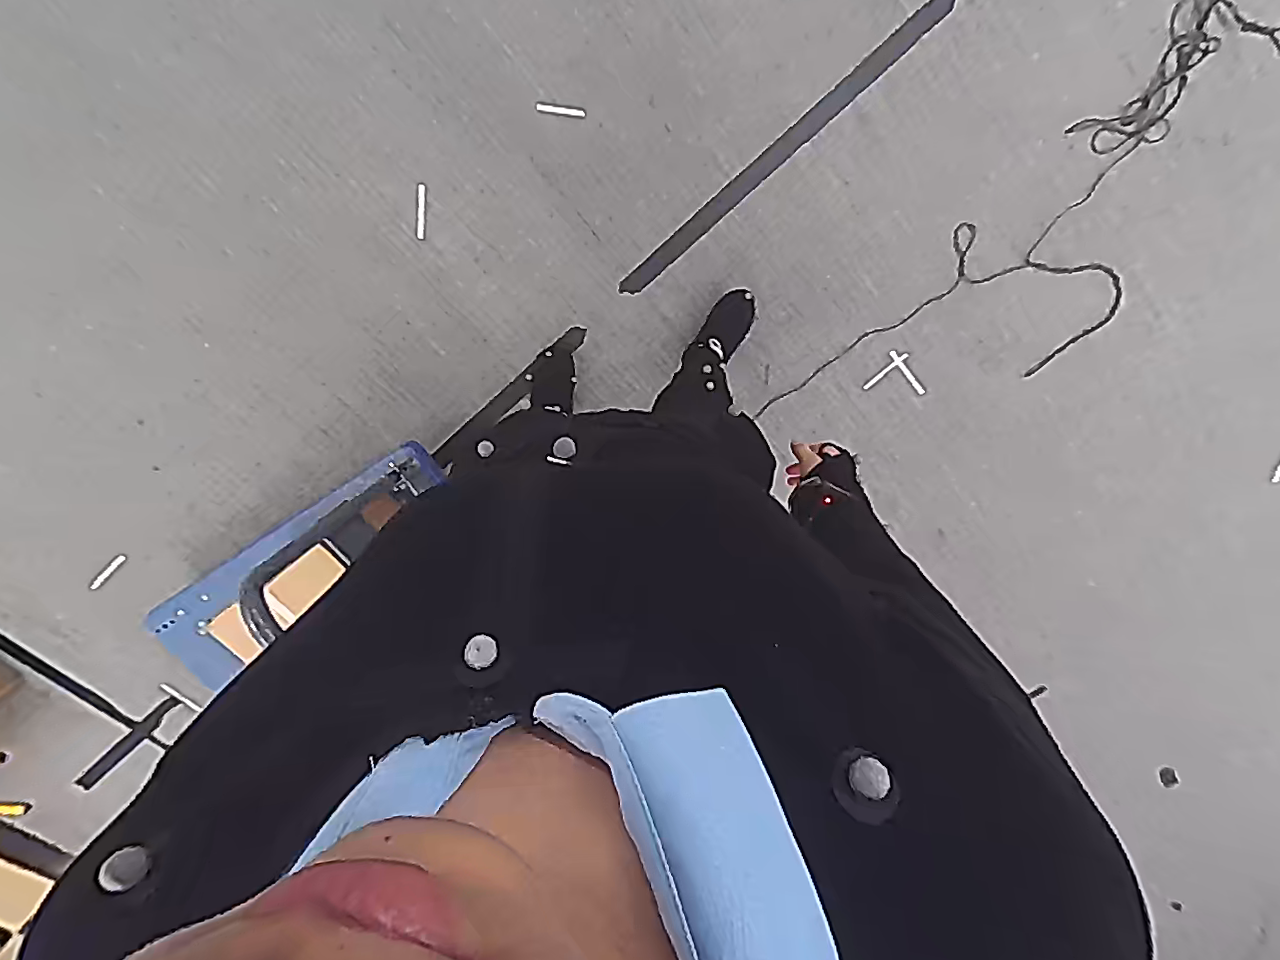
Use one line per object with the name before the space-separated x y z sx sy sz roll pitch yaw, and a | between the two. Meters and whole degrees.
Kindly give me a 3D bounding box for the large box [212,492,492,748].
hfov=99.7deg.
large box | -0.613 0.303 1.236 0.320 0.320 0.408 -36 105 7
